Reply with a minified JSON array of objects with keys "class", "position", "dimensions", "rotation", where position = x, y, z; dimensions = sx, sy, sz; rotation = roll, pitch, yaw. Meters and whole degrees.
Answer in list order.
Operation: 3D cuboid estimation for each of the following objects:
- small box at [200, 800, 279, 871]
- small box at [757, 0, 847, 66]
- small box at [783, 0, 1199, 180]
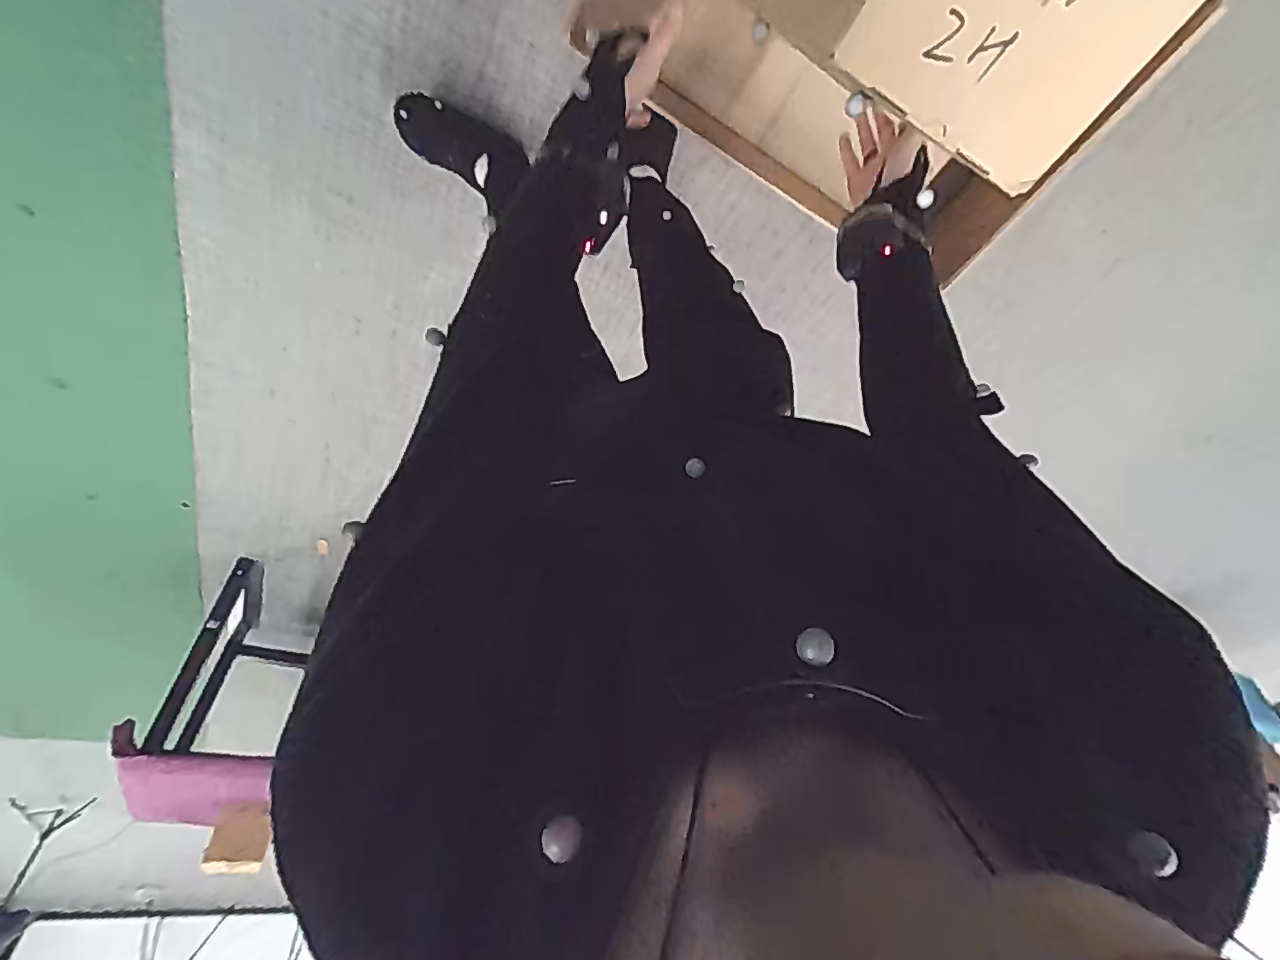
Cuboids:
[{"class":"small box","position":[-1.315,1.171,1.782],"dimensions":[0.168,0.176,0.179],"rotation":[17,133,-22]},{"class":"small box","position":[0.183,-0.568,0.535],"dimensions":[0.168,0.176,0.179],"rotation":[17,134,-24]},{"class":"small box","position":[0.209,-0.325,0.315],"dimensions":[0.168,0.176,0.179],"rotation":[17,133,-22]}]
